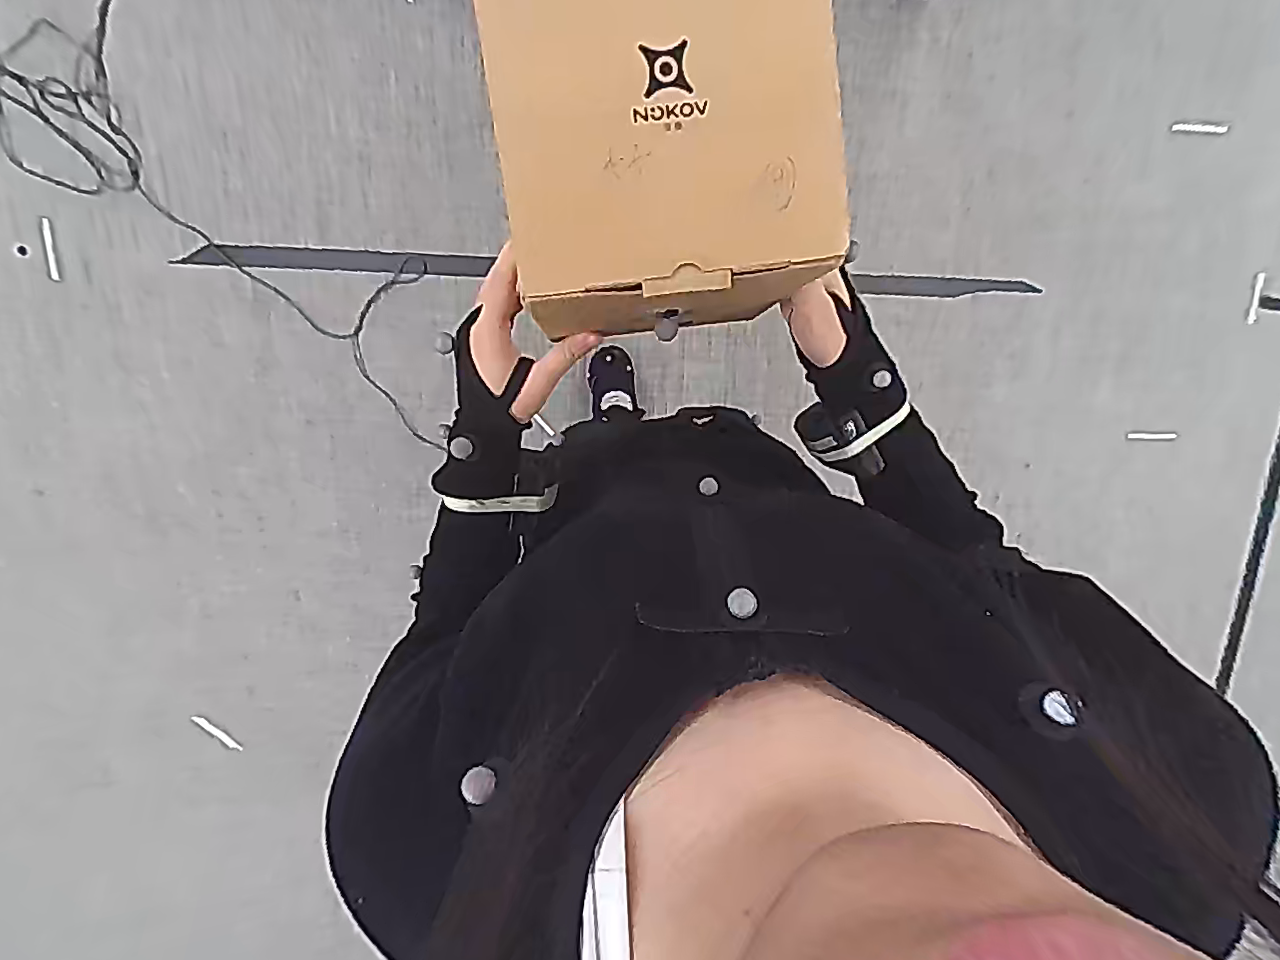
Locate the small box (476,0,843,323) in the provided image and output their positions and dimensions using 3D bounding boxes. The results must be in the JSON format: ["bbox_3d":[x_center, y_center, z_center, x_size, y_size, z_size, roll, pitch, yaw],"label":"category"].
[{"bbox_3d":[0.006,-0.198,0.331,0.168,0.176,0.179,-8,99,-4],"label":"small box"}]

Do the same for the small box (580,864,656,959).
[{"bbox_3d":[-0.055,1.078,1.323,0.179,0.176,0.168,-1,100,-3],"label":"small box"}]

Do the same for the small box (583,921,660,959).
[{"bbox_3d":[-0.040,1.102,1.163,0.168,0.176,0.179,0,100,-4],"label":"small box"}]
